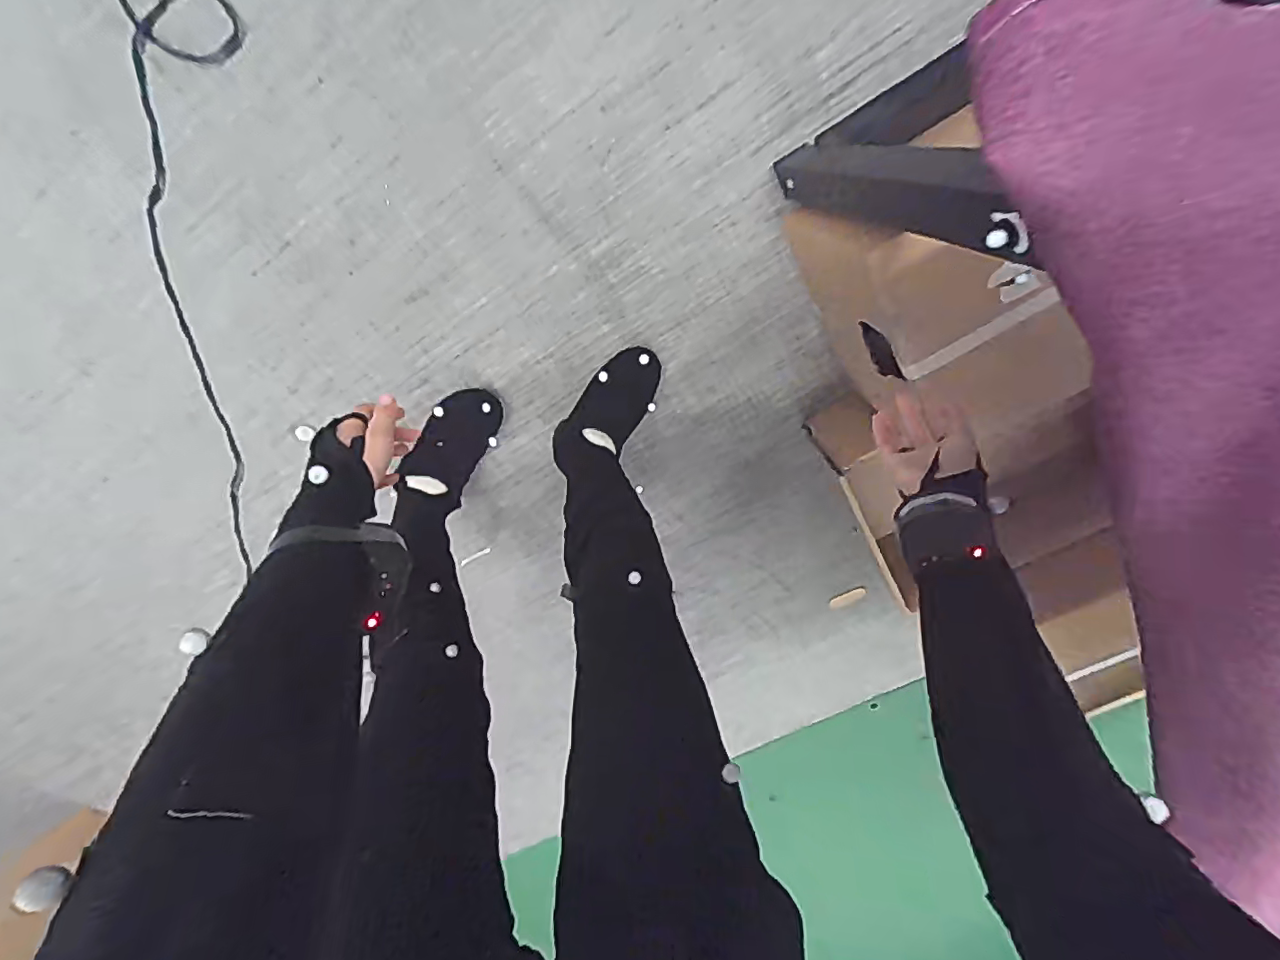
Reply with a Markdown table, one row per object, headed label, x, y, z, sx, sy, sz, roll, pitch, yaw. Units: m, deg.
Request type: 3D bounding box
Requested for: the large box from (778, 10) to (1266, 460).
| label | x | y | z | sx | sy | sz | roll | pitch | yaw |
| --- | --- | --- | --- | --- | --- | --- | --- | --- | --- |
| large box | 0.464 | -0.307 | 0.730 | 0.408 | 0.320 | 0.320 | -30 | 119 | 13 |
